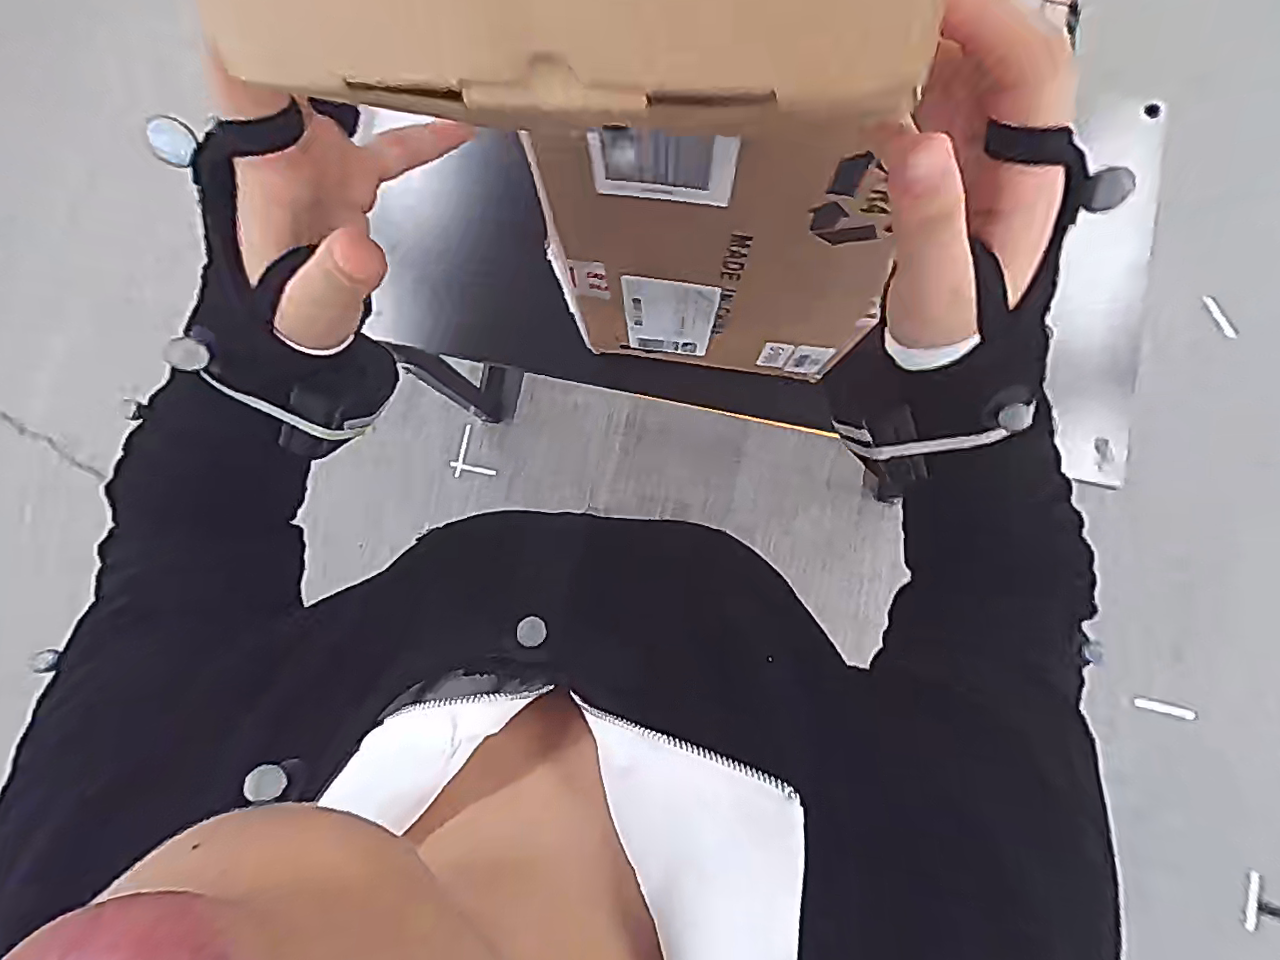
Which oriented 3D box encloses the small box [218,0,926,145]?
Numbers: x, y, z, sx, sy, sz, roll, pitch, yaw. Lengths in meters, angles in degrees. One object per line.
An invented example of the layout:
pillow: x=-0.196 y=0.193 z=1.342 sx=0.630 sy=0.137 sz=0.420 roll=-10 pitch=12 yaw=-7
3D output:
small box: x=-0.005 y=-0.208 z=0.157 sx=0.168 sy=0.176 sz=0.179 roll=6 pitch=120 yaw=6
